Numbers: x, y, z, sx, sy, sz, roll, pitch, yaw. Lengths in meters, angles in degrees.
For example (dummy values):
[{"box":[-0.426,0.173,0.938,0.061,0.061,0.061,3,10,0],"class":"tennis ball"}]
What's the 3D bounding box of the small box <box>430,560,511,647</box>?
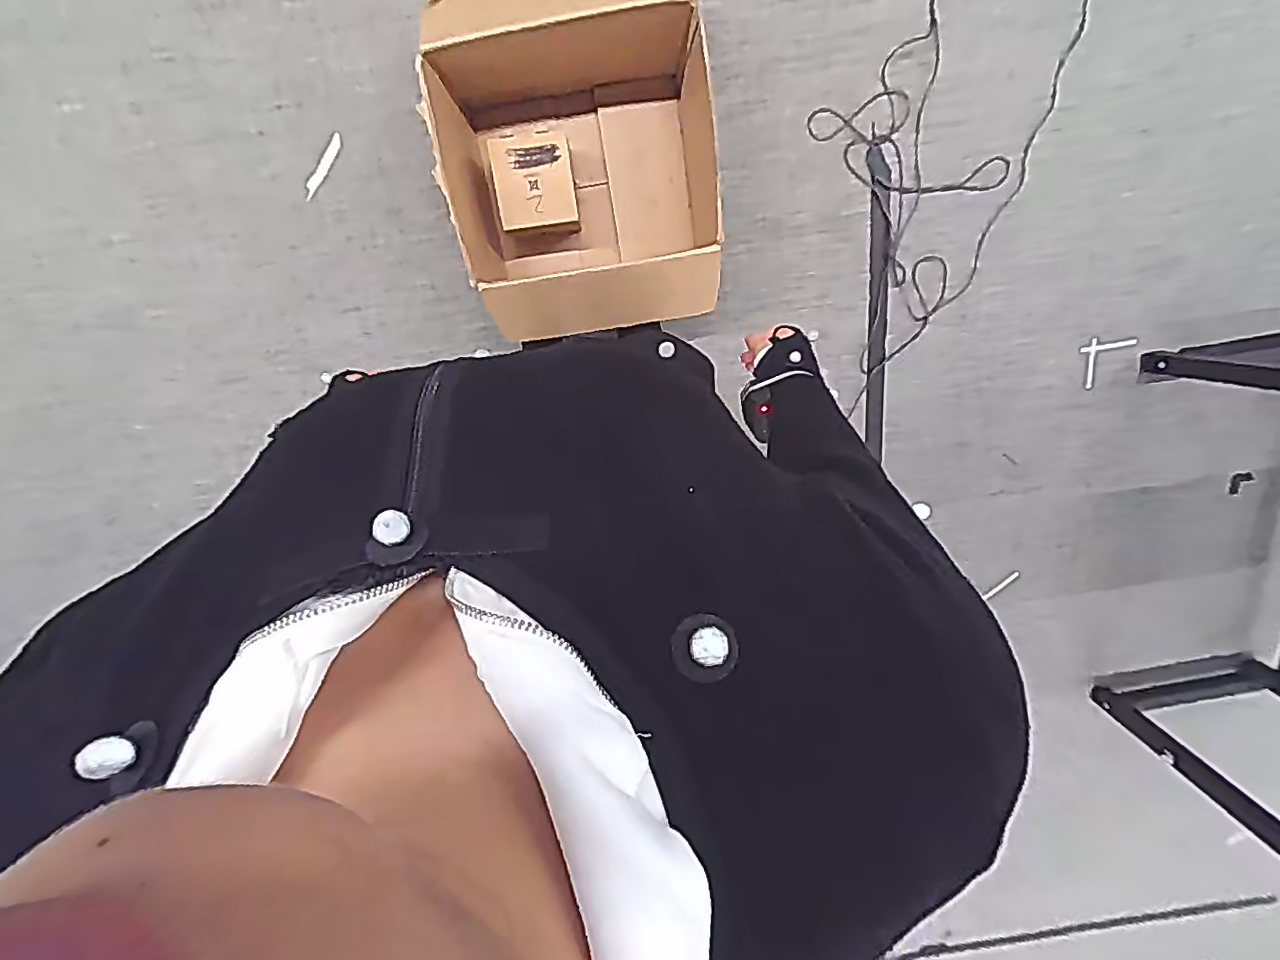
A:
[{"box":[-0.456,0.333,1.486,0.179,0.176,0.168,-5,109,-3],"class":"small box"}]
